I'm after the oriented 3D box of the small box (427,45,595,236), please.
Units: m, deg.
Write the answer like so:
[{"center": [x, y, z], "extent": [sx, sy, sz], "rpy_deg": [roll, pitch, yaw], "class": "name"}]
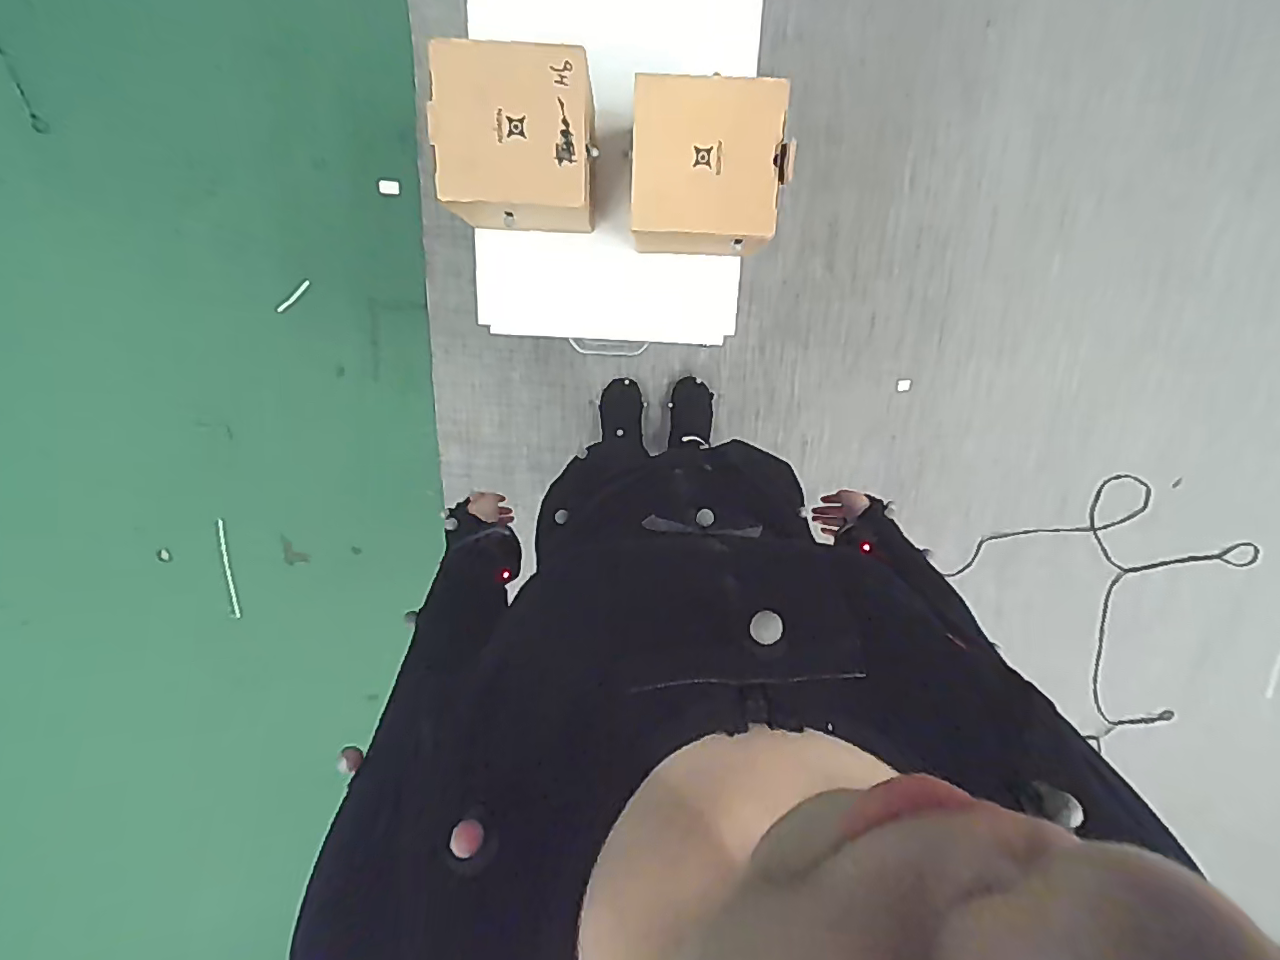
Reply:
[{"center": [-0.153, -0.418, 0.694], "extent": [0.179, 0.176, 0.168], "rpy_deg": [2, 105, -1], "class": "small box"}]
